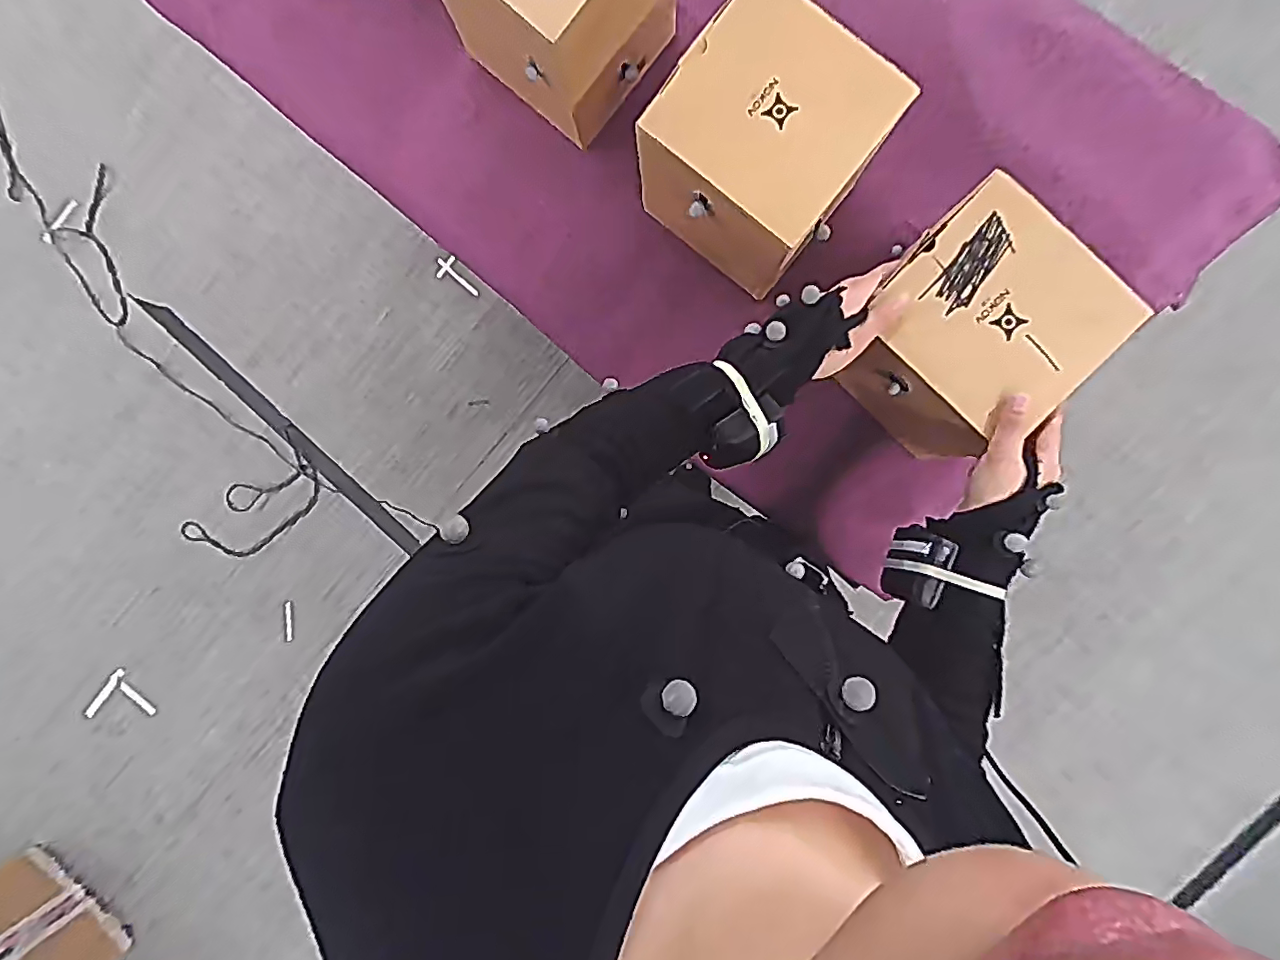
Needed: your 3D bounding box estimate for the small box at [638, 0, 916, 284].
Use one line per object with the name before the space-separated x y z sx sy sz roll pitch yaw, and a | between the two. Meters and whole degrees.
small box | 0.120 -0.320 0.536 0.179 0.176 0.168 39 95 1
